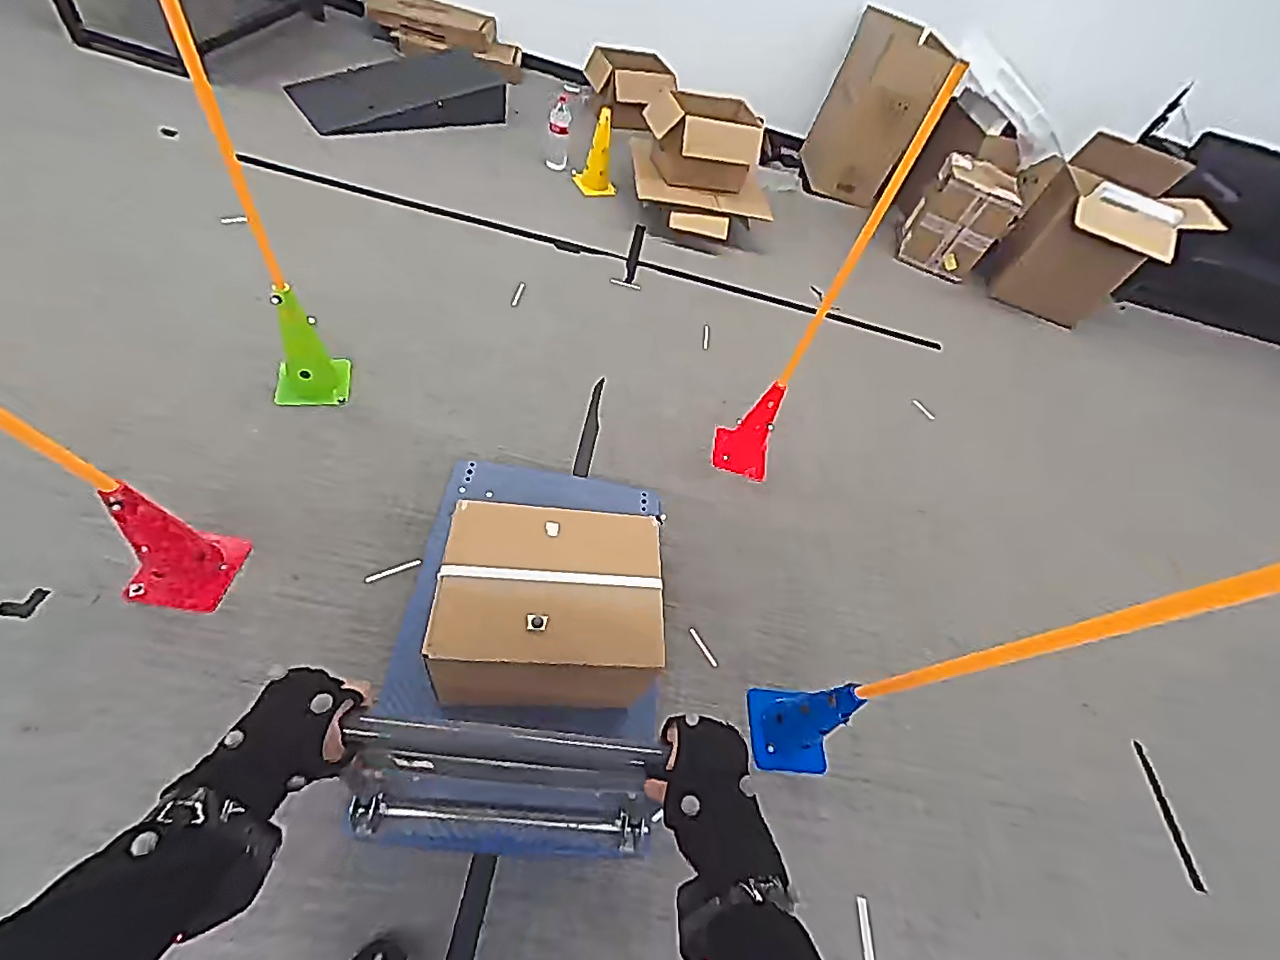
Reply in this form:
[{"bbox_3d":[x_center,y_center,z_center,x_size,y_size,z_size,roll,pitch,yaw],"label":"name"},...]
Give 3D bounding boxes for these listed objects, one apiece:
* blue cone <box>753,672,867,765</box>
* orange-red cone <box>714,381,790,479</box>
[{"bbox_3d":[0.433,0.549,1.302,0.193,0.380,0.192,10,52,-9],"label":"blue cone"},{"bbox_3d":[0.413,-0.199,1.823,0.199,0.360,0.198,19,53,-3],"label":"orange-red cone"}]
